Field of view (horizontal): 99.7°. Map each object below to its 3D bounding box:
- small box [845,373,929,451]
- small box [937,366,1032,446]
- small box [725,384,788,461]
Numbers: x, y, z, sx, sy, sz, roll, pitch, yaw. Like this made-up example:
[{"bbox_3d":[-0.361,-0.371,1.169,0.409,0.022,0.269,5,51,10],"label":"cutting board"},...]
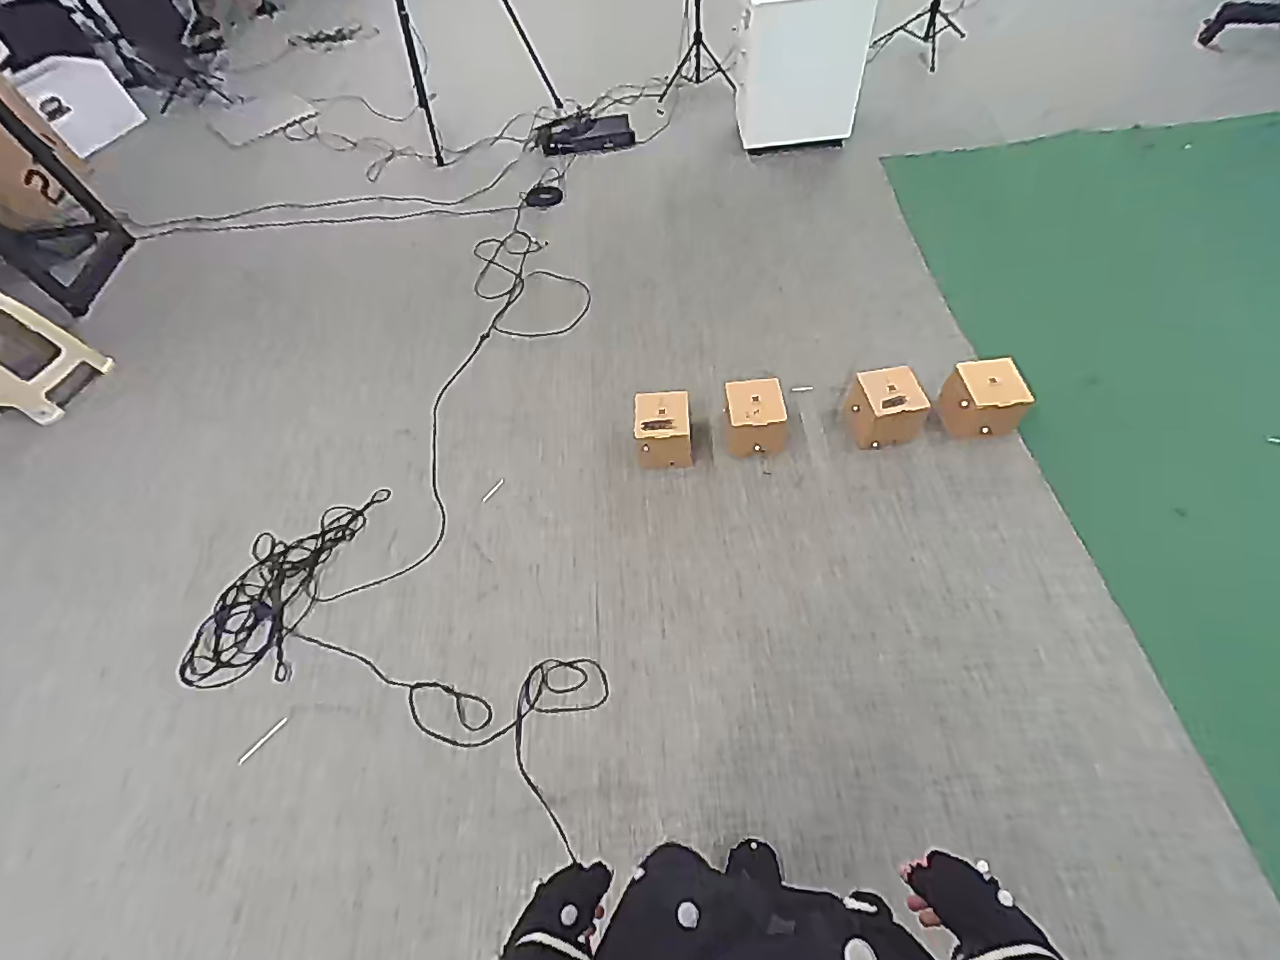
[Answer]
[{"bbox_3d":[0.763,-0.206,1.689,0.168,0.176,0.179,-8,55,0],"label":"small box"},{"bbox_3d":[1.054,-0.226,1.673,0.168,0.176,0.179,-6,57,3],"label":"small box"},{"bbox_3d":[0.362,-0.180,1.711,0.168,0.176,0.179,-5,57,4],"label":"small box"}]
